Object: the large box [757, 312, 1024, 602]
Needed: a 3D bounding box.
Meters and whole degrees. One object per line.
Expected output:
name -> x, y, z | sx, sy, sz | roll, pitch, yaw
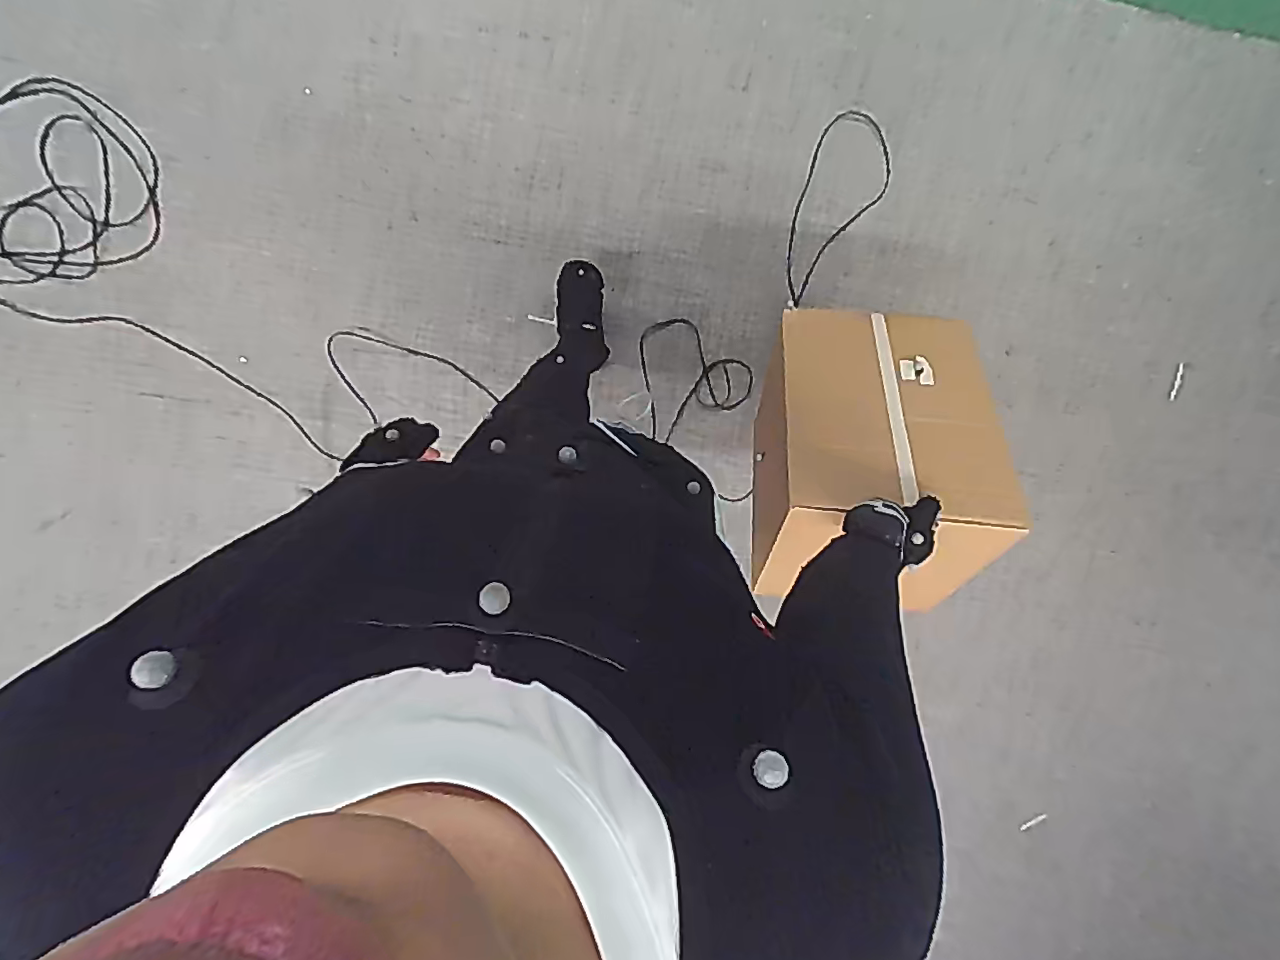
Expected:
large box -> 0.383, -0.036, 0.955 | 0.320, 0.320, 0.408 | 6, 57, 4
